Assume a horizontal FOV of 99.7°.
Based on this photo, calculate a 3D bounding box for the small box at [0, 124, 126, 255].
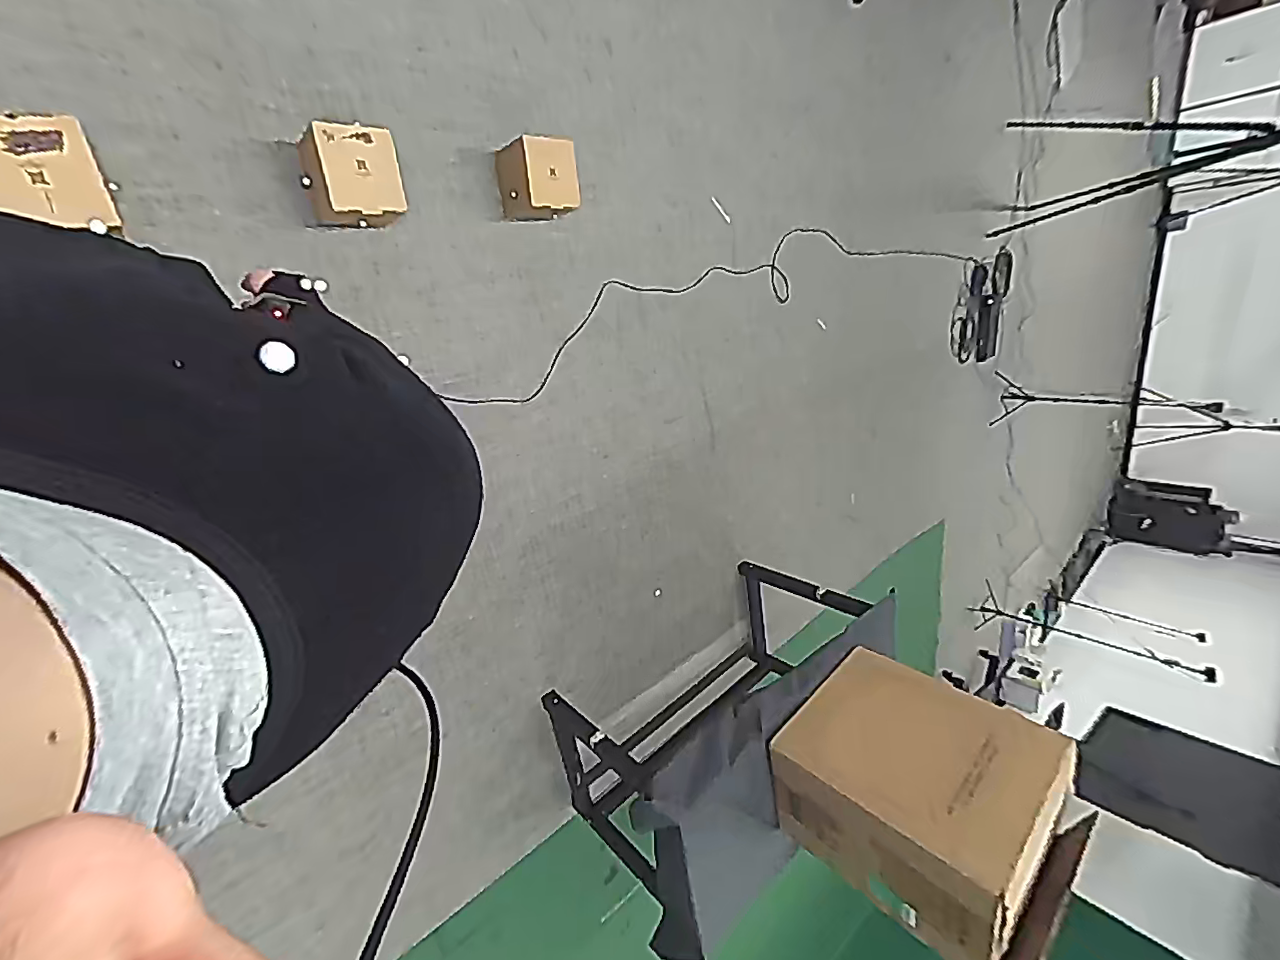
[{"bbox_3d":[-1.073,-0.516,0.975,0.168,0.176,0.179,-22,114,-35],"label":"small box"}]

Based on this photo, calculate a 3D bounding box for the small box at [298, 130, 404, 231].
[{"bbox_3d":[-0.681,-0.692,1.273,0.168,0.176,0.179,-19,112,-36],"label":"small box"}]

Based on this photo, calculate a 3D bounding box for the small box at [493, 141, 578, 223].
[{"bbox_3d":[-0.303,-0.849,1.561,0.168,0.176,0.179,-21,111,-36],"label":"small box"}]
